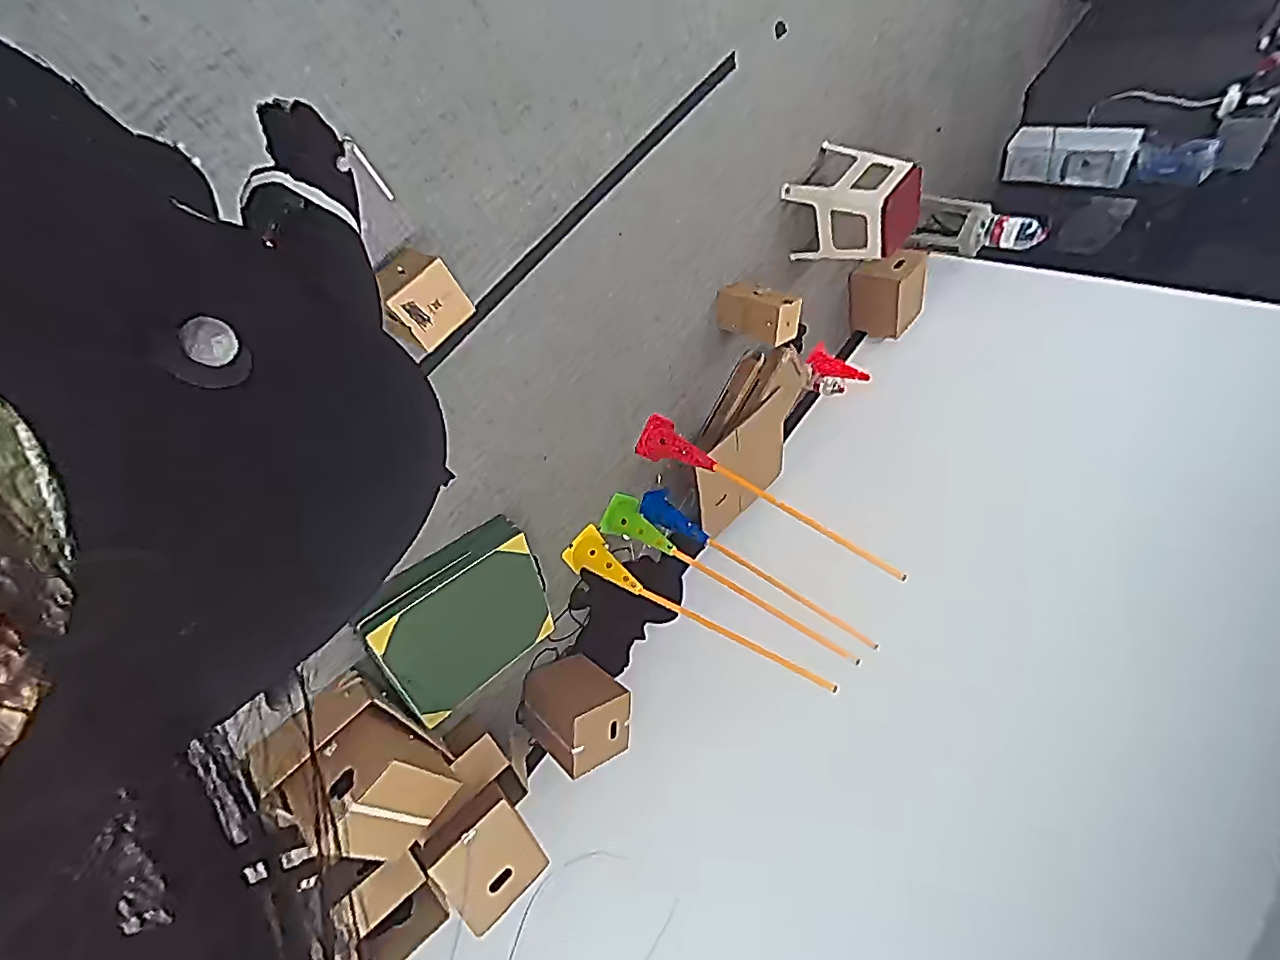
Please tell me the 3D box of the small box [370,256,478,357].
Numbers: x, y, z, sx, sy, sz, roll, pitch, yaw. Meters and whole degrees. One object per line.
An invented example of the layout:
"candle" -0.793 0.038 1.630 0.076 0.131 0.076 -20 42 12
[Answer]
"small box" -0.567 -0.454 1.404 0.179 0.176 0.168 -49 142 -16
